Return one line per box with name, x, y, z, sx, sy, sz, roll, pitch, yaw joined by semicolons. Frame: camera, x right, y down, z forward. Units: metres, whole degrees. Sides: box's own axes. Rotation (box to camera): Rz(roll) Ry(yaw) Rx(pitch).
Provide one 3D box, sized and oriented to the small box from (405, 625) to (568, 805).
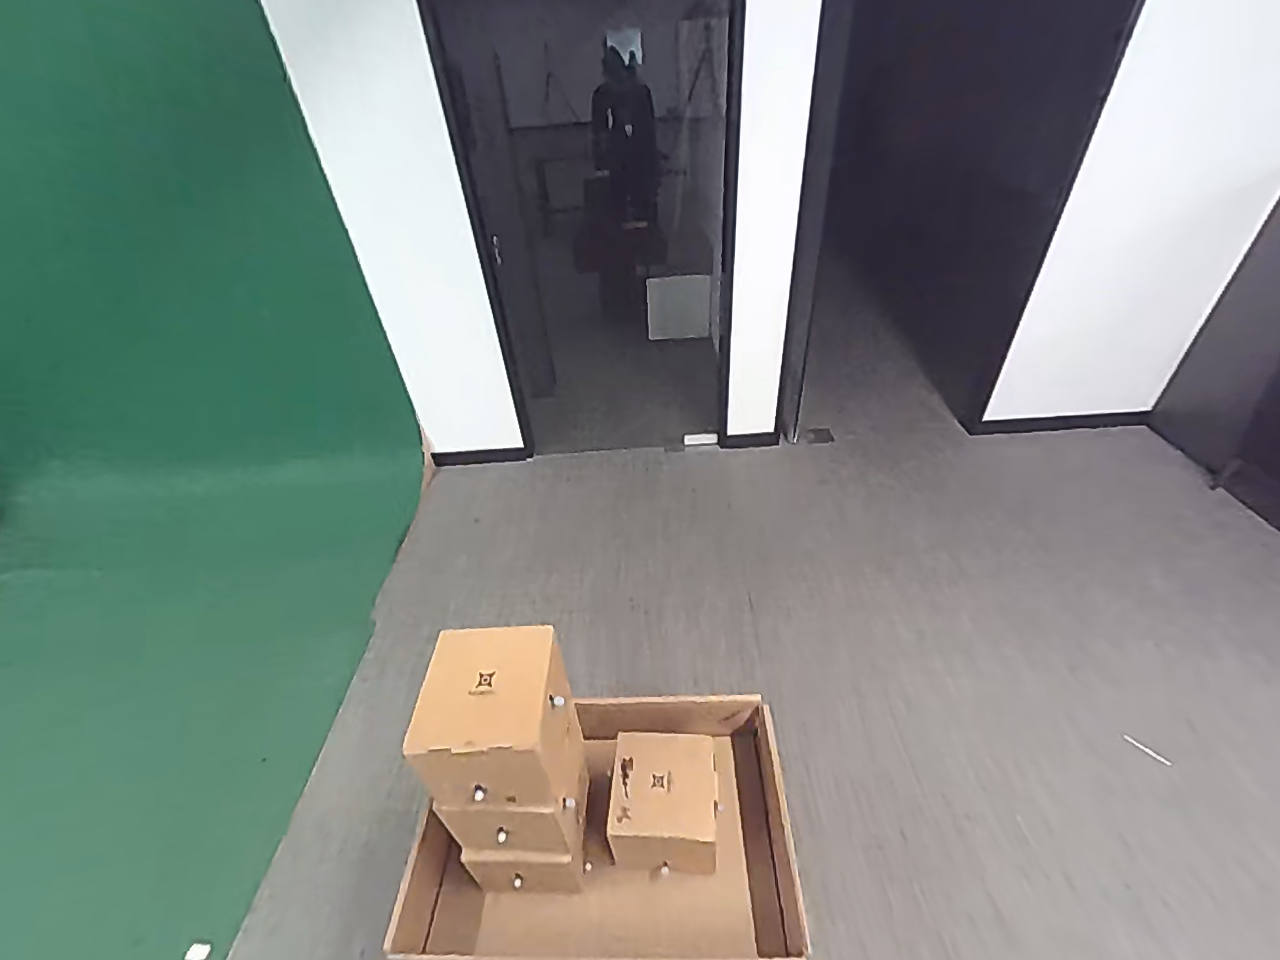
small box;-0.197;0.326;0.757;0.168;0.176;0.179;-3;38;2
